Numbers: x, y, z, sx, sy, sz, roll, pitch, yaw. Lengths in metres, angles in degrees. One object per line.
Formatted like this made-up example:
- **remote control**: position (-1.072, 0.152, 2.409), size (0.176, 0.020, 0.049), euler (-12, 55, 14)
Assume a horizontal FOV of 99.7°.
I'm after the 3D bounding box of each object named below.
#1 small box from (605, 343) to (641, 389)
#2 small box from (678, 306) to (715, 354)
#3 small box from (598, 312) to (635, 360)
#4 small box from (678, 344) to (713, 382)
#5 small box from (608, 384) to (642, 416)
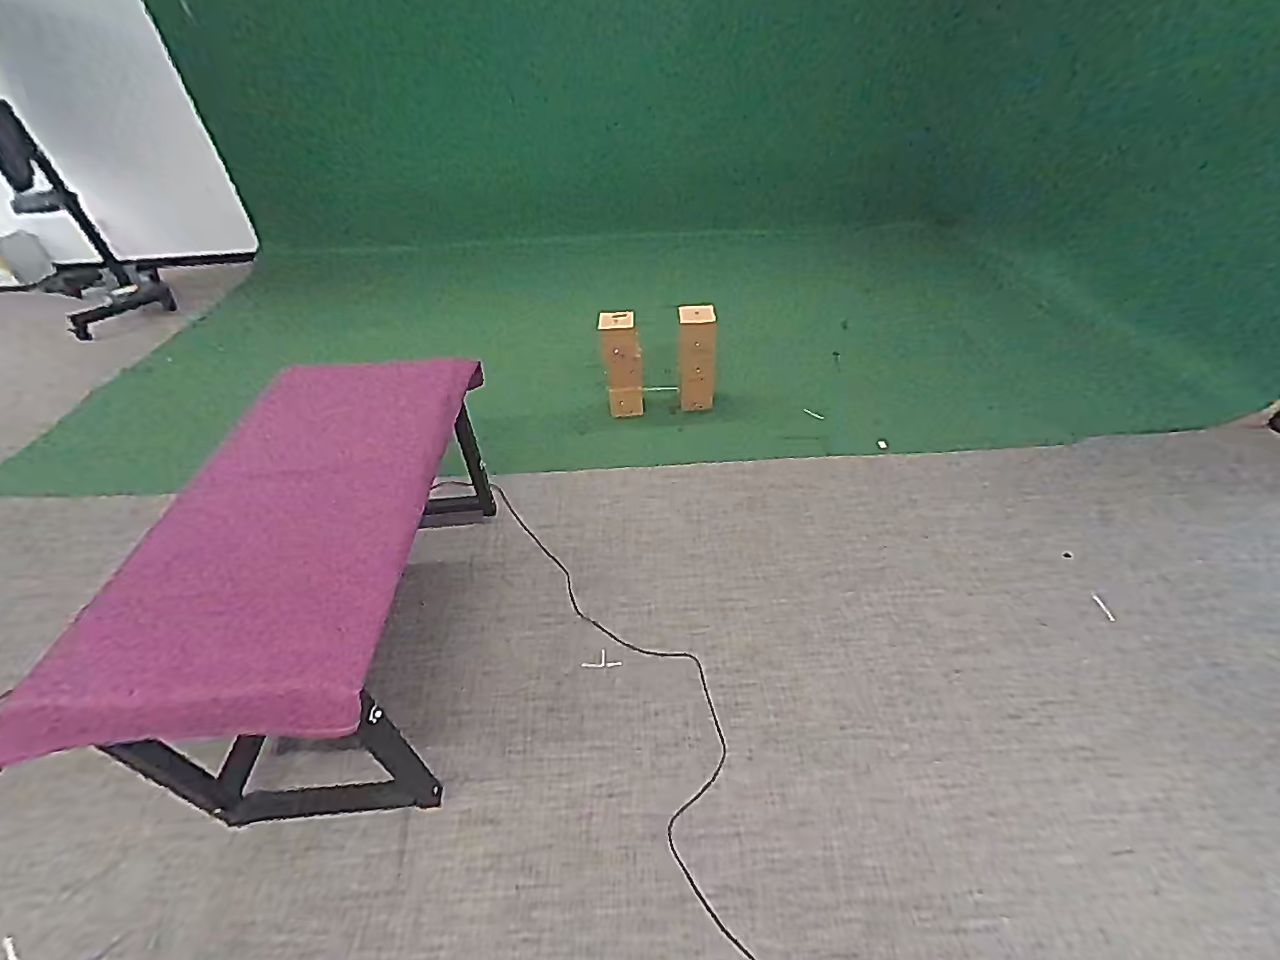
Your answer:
- **small box**: position (-0.088, -0.577, 2.739), size (0.179, 0.176, 0.168), euler (-6, 41, -1)
- **small box**: position (0.270, -0.732, 2.636), size (0.168, 0.176, 0.179), euler (-2, 43, 2)
- **small box**: position (-0.113, -0.700, 2.631), size (0.168, 0.176, 0.179), euler (-3, 41, 1)
- **small box**: position (0.280, -0.610, 2.746), size (0.168, 0.176, 0.179), euler (-2, 44, 0)
- **small box**: position (-0.079, -0.446, 2.835), size (0.168, 0.176, 0.179), euler (-5, 41, -1)
